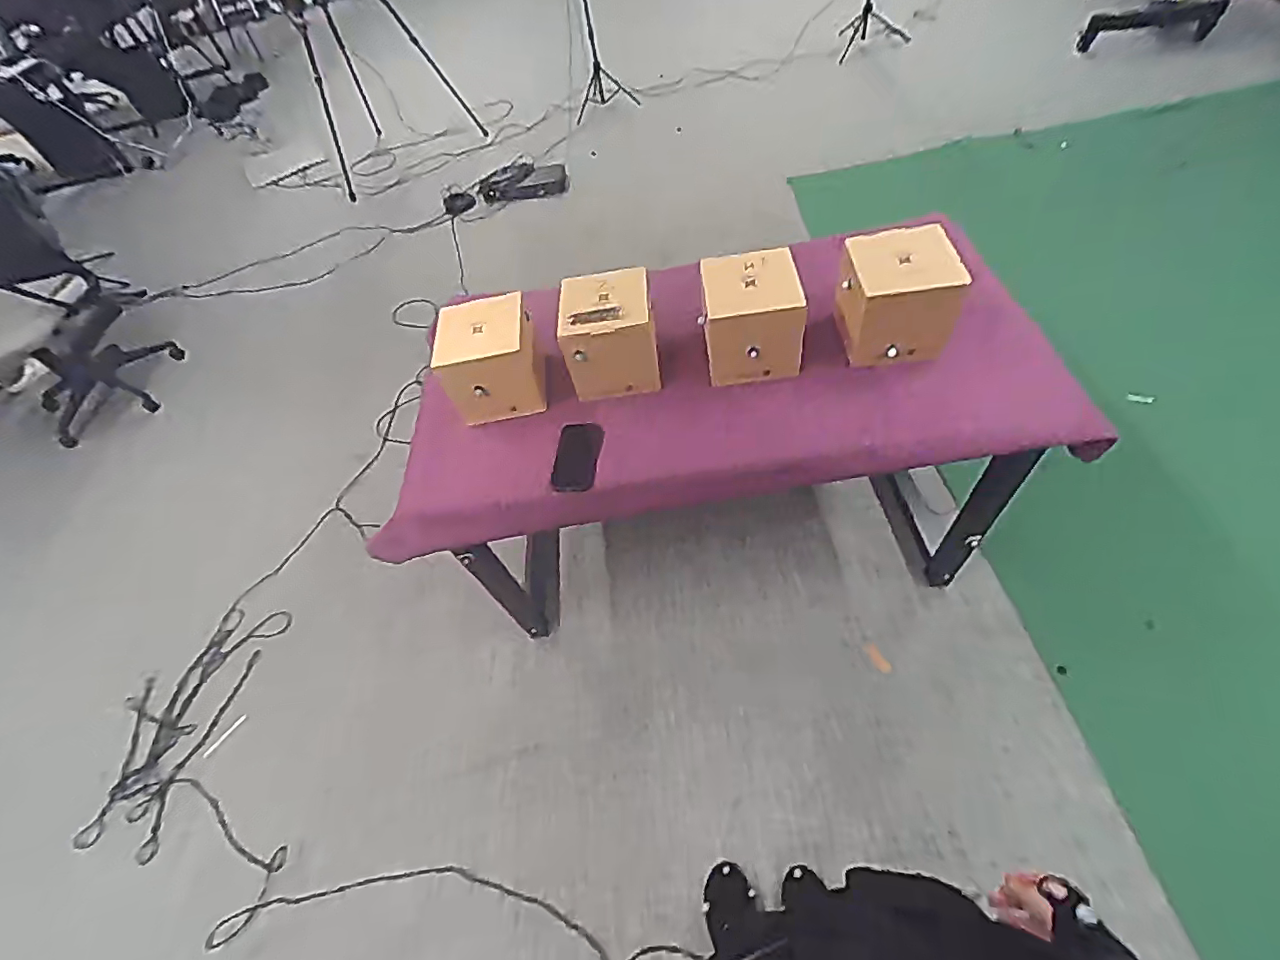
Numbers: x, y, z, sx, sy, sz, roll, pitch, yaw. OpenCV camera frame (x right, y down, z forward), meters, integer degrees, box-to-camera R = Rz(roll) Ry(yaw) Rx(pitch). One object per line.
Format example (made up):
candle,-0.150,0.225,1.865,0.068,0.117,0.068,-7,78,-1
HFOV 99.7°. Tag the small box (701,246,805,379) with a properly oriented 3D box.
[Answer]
small box,0.208,-0.307,1.019,0.168,0.176,0.179,-6,54,6

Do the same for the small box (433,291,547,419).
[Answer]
small box,-0.285,-0.237,1.067,0.168,0.176,0.179,-11,53,3

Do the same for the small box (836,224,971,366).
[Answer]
small box,0.466,-0.335,0.991,0.168,0.176,0.179,-5,54,9
